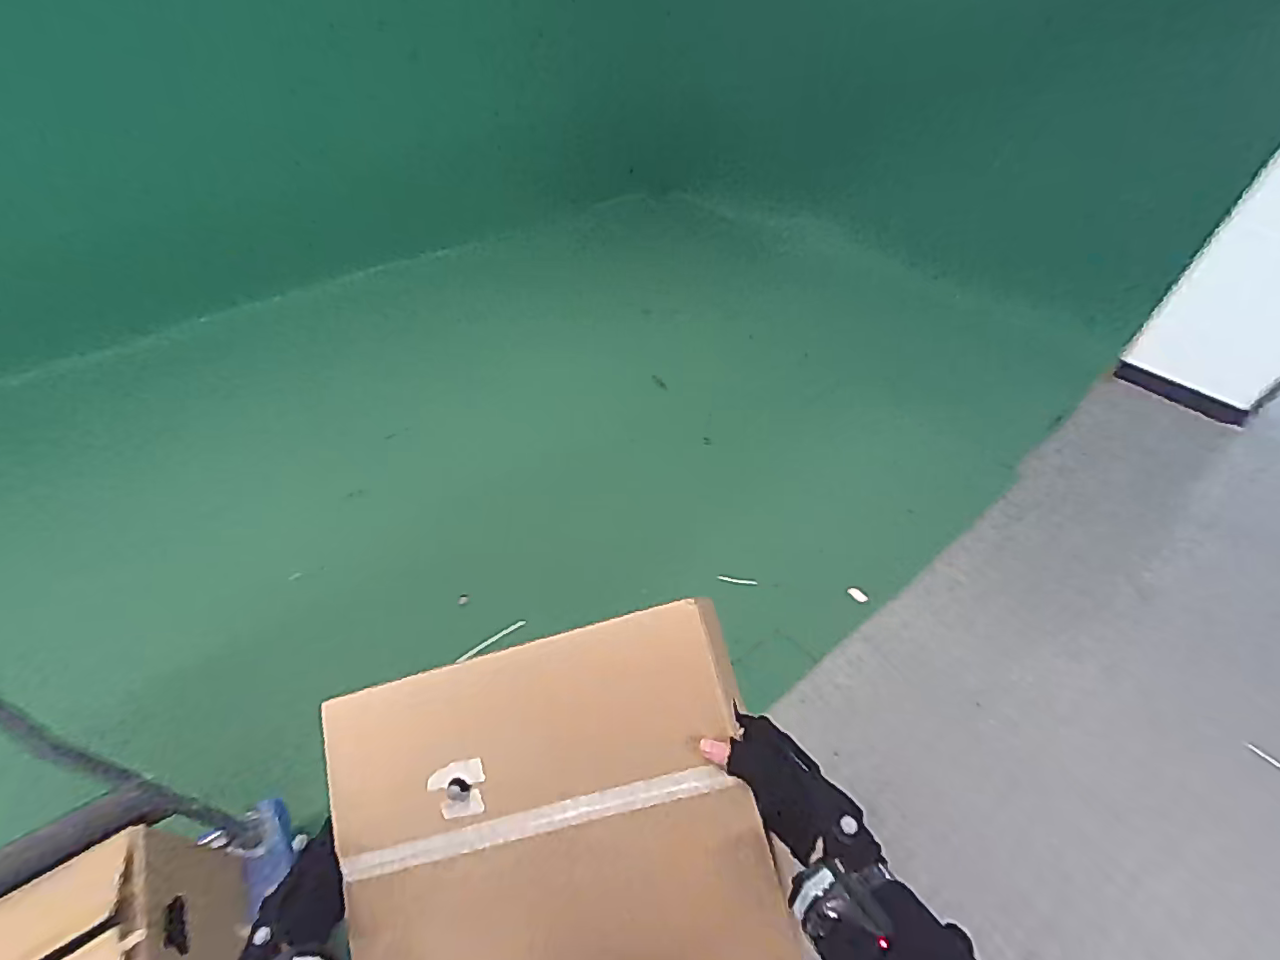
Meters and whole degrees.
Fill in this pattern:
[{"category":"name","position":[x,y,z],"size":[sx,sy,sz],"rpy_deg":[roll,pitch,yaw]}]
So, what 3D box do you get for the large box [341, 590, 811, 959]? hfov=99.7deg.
[{"category":"large box","position":[-0.056,0.334,0.643],"size":[0.408,0.320,0.320],"rpy_deg":[-17,76,7]}]
